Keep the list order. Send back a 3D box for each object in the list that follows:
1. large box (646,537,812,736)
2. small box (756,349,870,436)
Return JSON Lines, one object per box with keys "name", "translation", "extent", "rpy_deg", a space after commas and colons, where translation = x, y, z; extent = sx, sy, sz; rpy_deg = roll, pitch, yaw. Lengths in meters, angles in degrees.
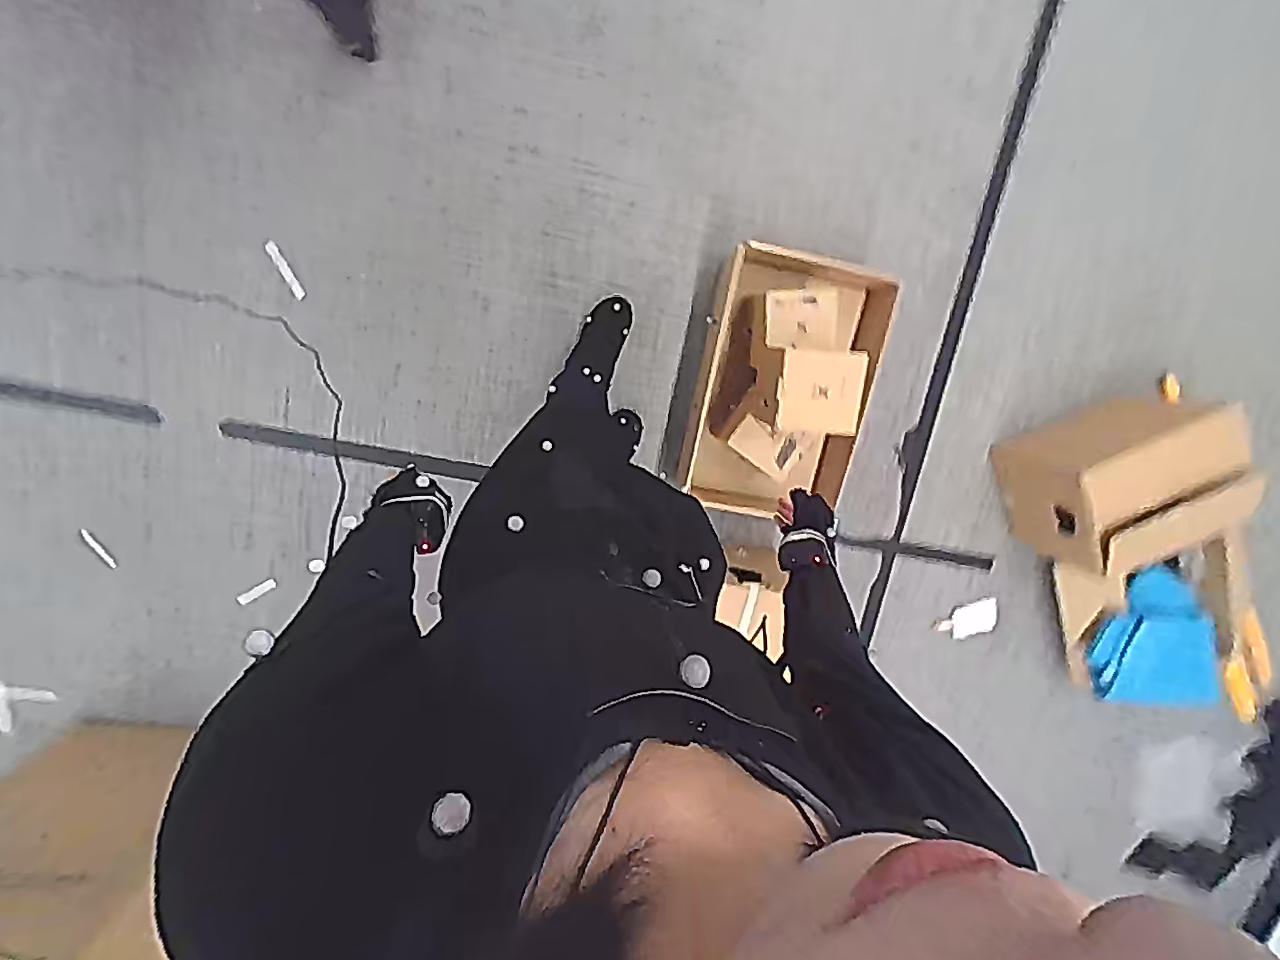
{"name": "large box", "translation": [0.215, 0.407, 1.463], "extent": [0.320, 0.320, 0.408], "rpy_deg": [11, 104, -7]}
{"name": "small box", "translation": [0.364, -0.195, 1.172], "extent": [0.179, 0.176, 0.168], "rpy_deg": [3, 105, -7]}
